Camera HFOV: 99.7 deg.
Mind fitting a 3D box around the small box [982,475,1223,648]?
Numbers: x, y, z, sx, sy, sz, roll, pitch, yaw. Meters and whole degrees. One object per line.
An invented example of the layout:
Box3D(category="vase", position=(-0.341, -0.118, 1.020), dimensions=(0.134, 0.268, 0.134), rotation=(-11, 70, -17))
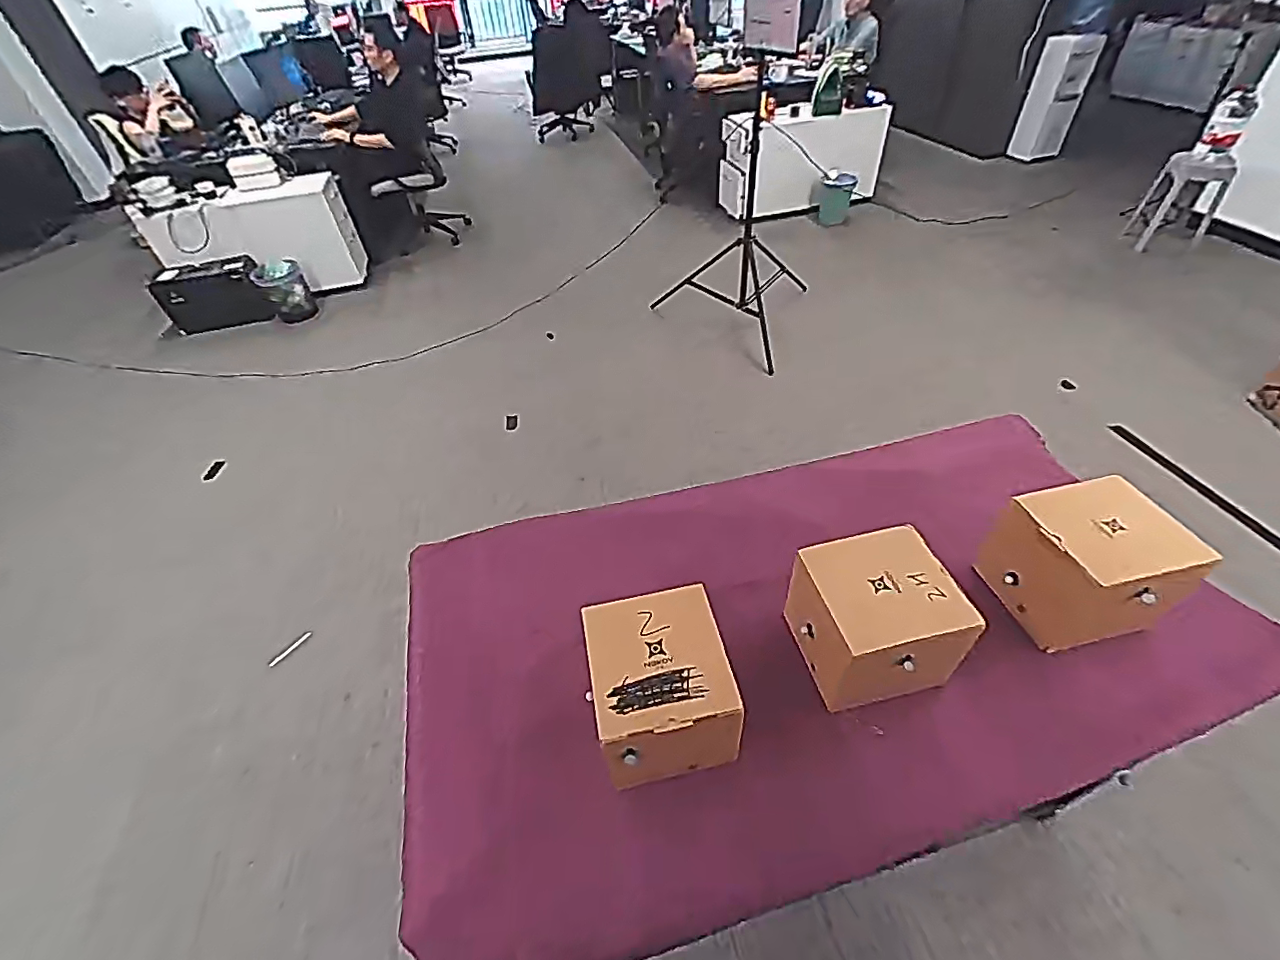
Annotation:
Box3D(category="small box", position=(0.651, 0.120, 0.791), dimensions=(0.179, 0.176, 0.168), rotation=(-12, 44, -5))

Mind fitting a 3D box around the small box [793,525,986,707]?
Box3D(category="small box", position=(0.325, 0.192, 0.753), dimensions=(0.179, 0.176, 0.168), rotation=(-11, 45, -6))
